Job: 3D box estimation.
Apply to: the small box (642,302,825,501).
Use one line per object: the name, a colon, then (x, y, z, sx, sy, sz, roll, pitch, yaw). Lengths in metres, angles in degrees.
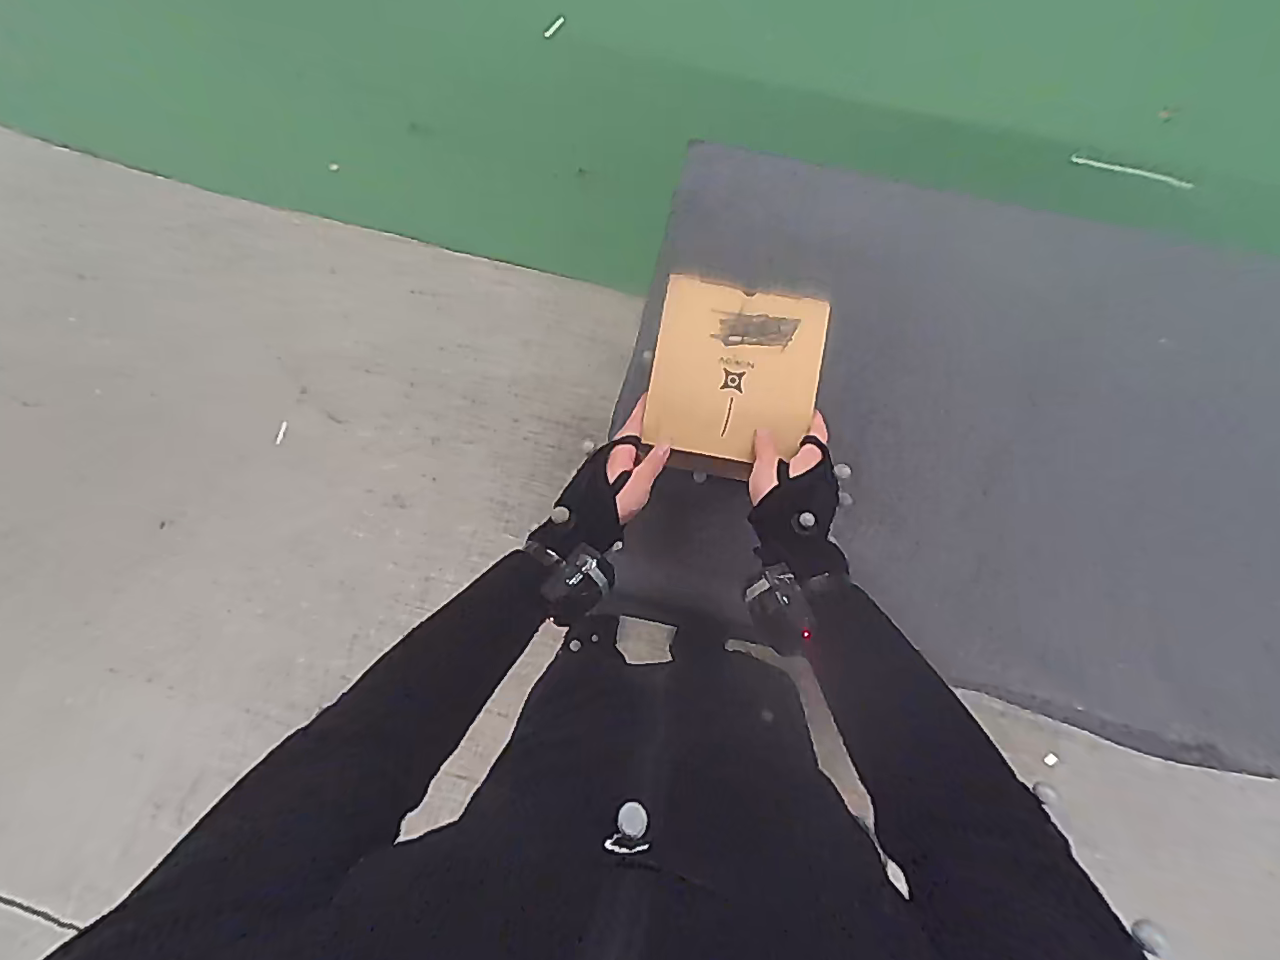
small box: (0.095, -0.077, 0.624, 0.168, 0.176, 0.179, 10, 85, 1)
